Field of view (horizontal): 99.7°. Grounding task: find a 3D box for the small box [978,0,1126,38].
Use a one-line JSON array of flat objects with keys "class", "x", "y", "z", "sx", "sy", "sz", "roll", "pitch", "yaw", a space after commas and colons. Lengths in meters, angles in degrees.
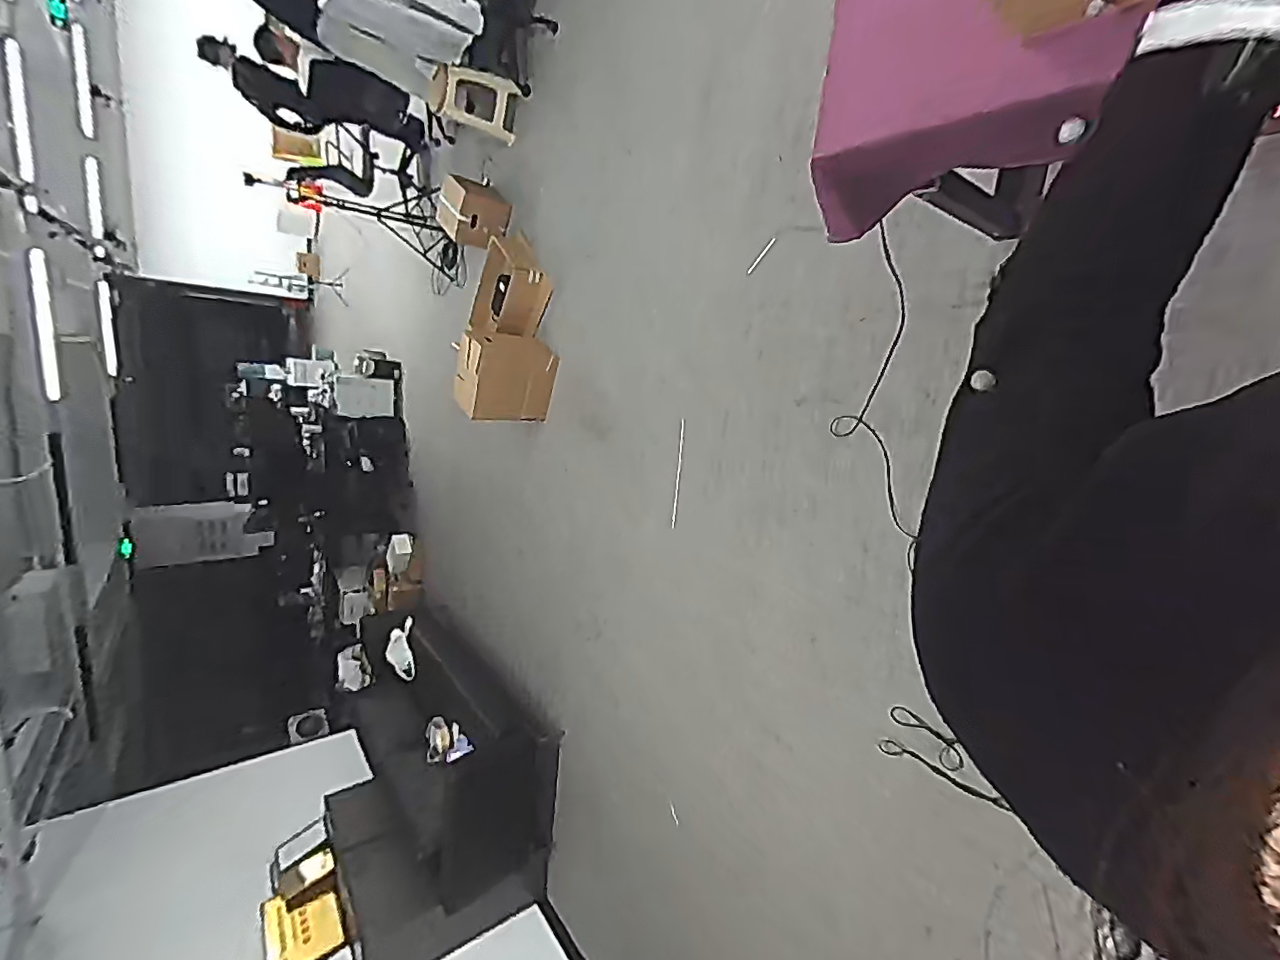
[{"class": "small box", "x": 0.470, "y": -0.615, "z": 0.559, "sx": 0.179, "sy": 0.176, "sz": 0.168, "roll": 17, "pitch": 106, "yaw": 49}]
